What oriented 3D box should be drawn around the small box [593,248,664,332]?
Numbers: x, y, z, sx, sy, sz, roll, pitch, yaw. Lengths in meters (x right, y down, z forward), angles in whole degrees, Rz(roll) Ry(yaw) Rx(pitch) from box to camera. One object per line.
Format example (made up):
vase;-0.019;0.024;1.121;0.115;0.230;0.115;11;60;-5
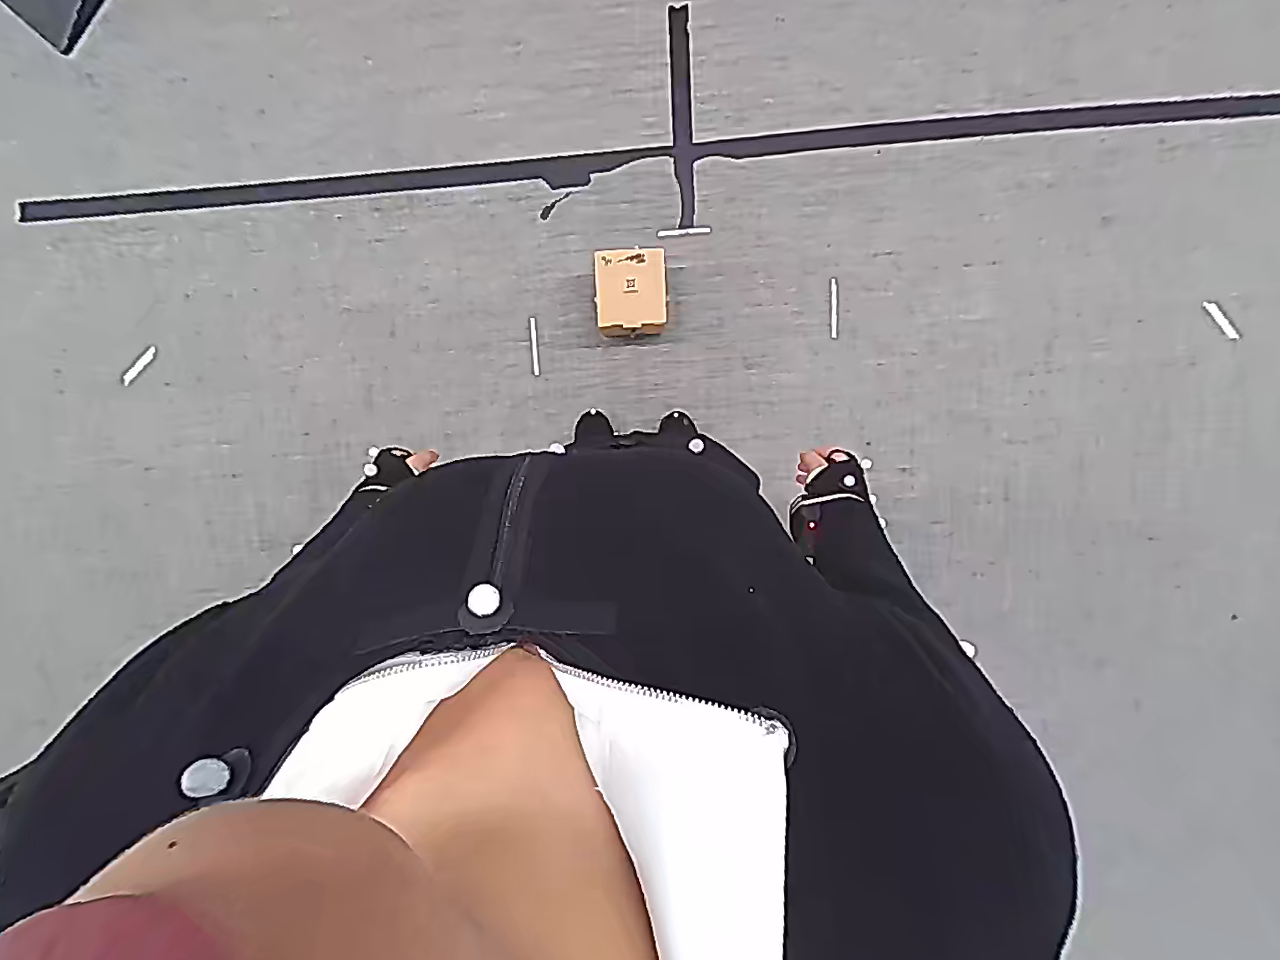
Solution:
small box;-0.023;-0.463;1.343;0.168;0.176;0.179;-2;98;1
